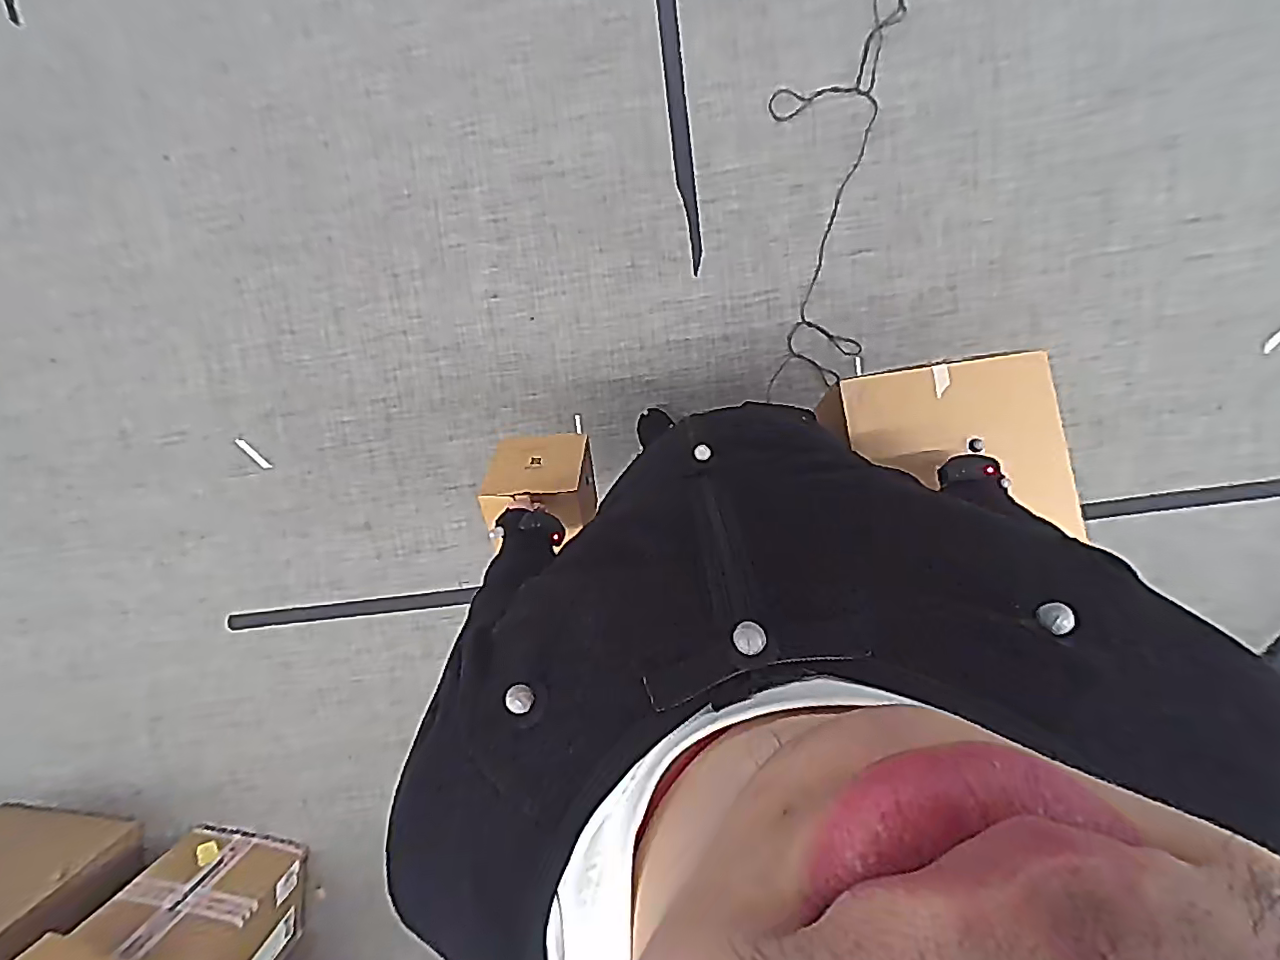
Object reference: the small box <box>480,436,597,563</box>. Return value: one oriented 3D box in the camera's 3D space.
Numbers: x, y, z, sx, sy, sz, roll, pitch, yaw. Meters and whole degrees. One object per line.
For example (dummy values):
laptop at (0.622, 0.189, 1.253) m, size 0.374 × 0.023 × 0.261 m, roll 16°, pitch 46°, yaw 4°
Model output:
small box at (-0.173, 0.038, 0.990) m, size 0.168 × 0.179 × 0.176 m, roll -2°, pitch 128°, yaw 3°
